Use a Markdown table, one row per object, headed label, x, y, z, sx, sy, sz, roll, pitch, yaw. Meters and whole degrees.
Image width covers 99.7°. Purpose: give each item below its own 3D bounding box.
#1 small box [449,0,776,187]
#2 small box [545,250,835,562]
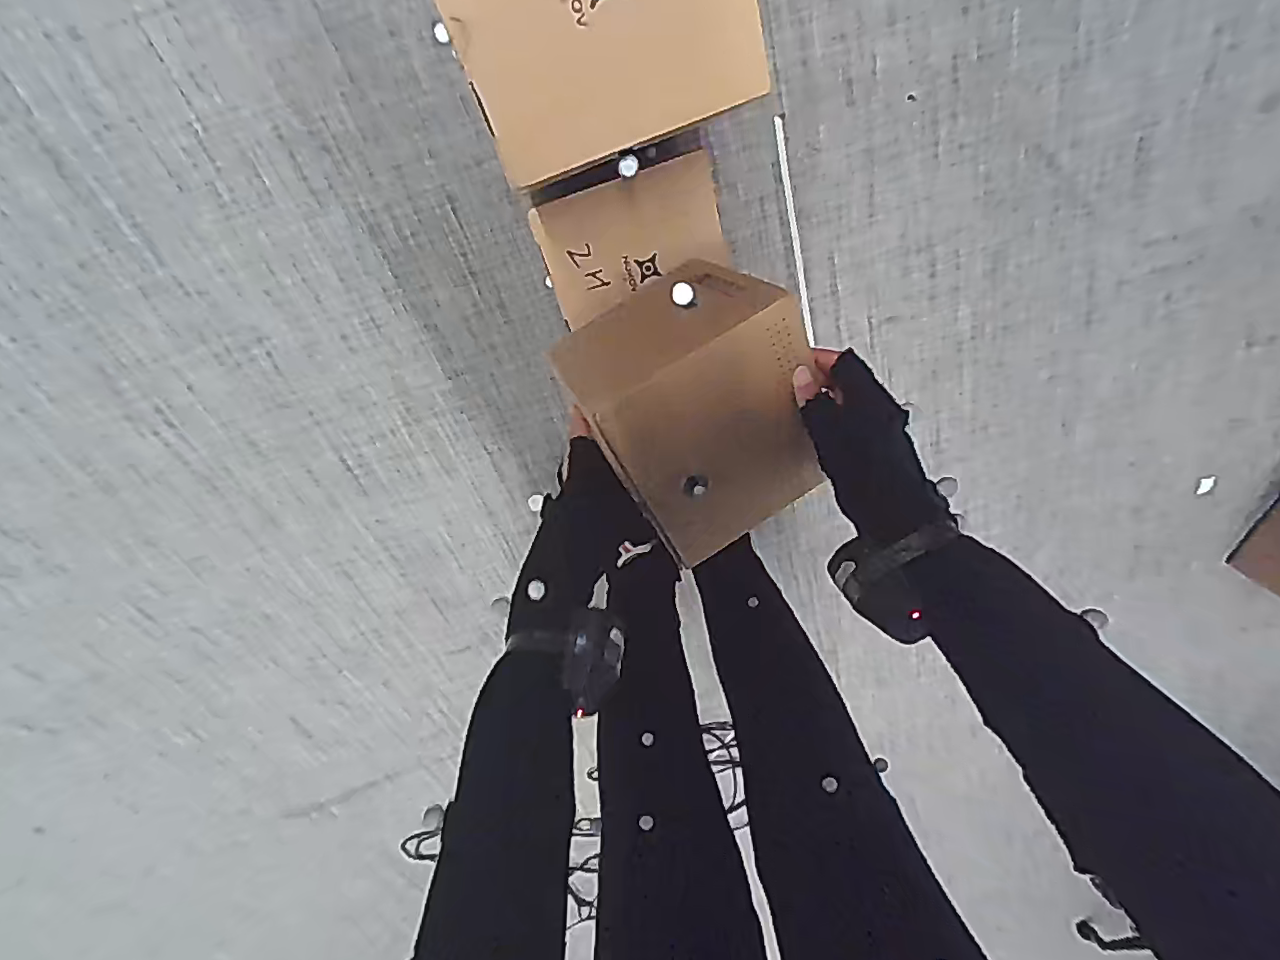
| label | x | y | z | sx | sy | sz | roll | pitch | yaw |
| --- | --- | --- | --- | --- | --- | --- | --- | --- | --- |
| small box | -0.029 | -0.323 | 0.371 | 0.179 | 0.176 | 0.168 | -19 | 120 | 5 |
| small box | 0.047 | -0.069 | 0.475 | 0.176 | 0.168 | 0.179 | -33 | 127 | -4 |
